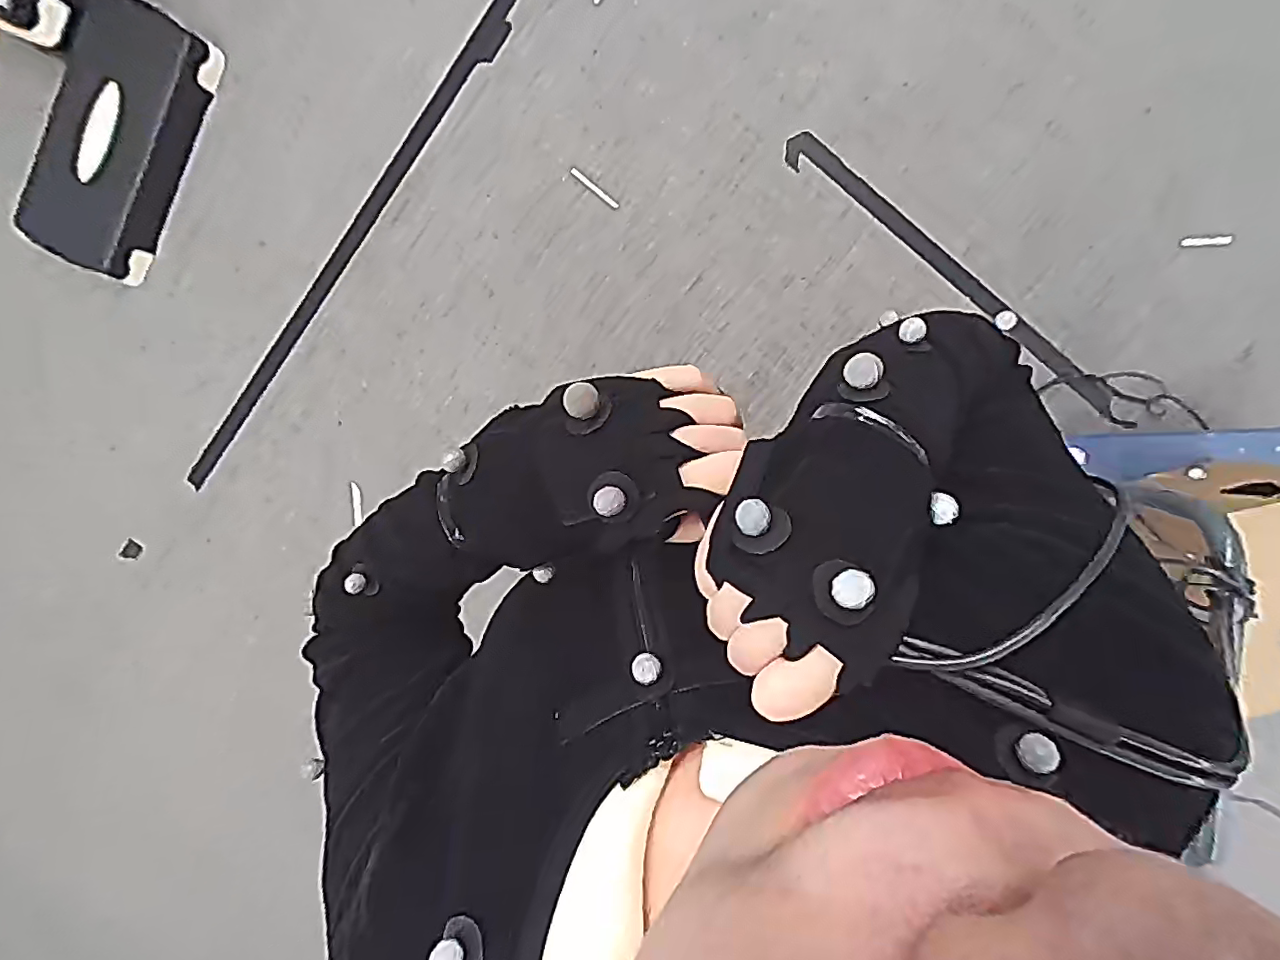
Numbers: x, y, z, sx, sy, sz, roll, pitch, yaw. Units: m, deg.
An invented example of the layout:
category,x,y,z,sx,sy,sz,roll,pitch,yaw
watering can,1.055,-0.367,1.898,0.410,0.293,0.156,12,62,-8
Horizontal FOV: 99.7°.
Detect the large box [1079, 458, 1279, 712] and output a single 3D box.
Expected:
category,x,y,z,sx,sy,sz,roll,pitch,yaw
large box,1.222,0.195,1.140,0.320,0.320,0.408,-14,97,4
